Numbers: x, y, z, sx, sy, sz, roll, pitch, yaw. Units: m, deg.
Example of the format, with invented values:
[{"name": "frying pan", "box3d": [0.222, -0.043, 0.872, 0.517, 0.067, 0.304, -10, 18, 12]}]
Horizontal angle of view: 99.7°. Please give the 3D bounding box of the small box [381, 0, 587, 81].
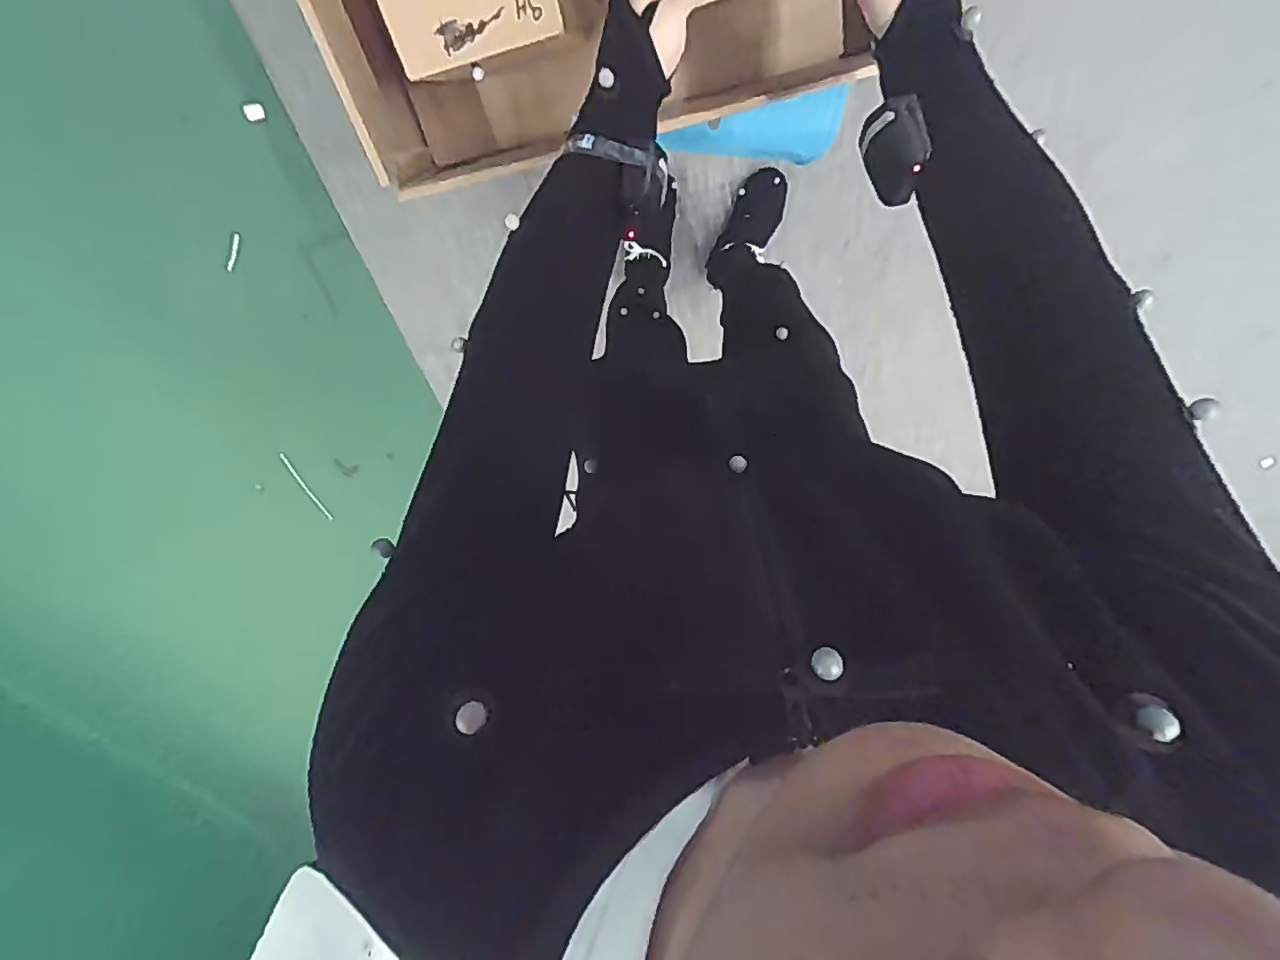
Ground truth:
[{"name": "small box", "box3d": [-0.162, -0.523, 0.538, 0.168, 0.176, 0.179, -8, 125, 11]}]
